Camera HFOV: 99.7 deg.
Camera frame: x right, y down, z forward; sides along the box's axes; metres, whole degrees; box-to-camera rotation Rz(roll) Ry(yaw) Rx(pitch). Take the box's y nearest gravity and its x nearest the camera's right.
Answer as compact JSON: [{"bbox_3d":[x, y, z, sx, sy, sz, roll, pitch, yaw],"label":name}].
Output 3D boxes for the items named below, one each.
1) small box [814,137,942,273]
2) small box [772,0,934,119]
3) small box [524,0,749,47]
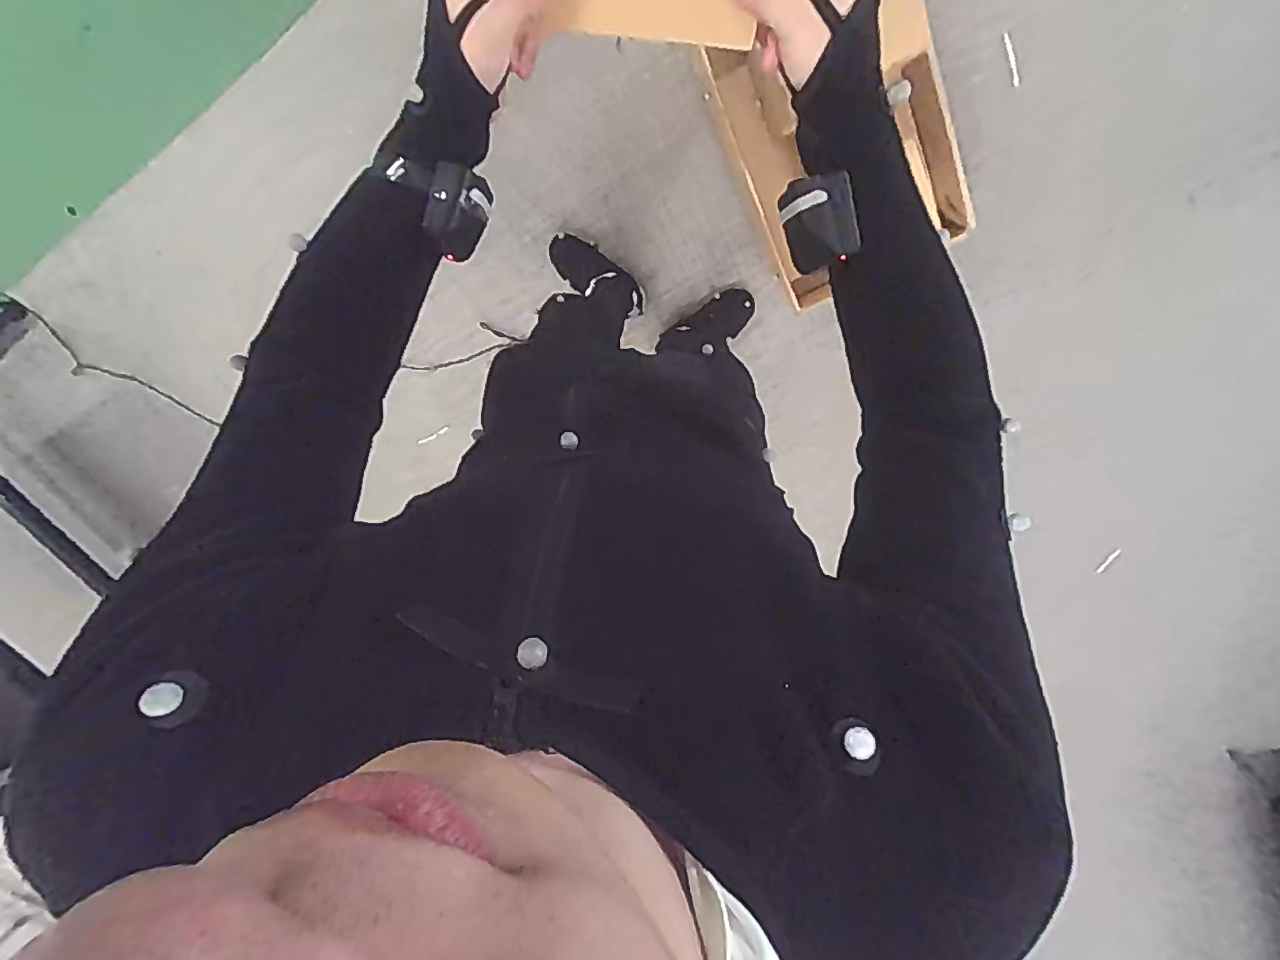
[{"bbox_3d":[0.458,-0.533,1.065,0.168,0.176,0.179,-23,111,19],"label":"small box"},{"bbox_3d":[0.311,-0.689,0.820,0.168,0.176,0.179,-21,112,16],"label":"small box"},{"bbox_3d":[0.010,-0.446,0.402,0.168,0.176,0.179,6,131,1],"label":"small box"}]
